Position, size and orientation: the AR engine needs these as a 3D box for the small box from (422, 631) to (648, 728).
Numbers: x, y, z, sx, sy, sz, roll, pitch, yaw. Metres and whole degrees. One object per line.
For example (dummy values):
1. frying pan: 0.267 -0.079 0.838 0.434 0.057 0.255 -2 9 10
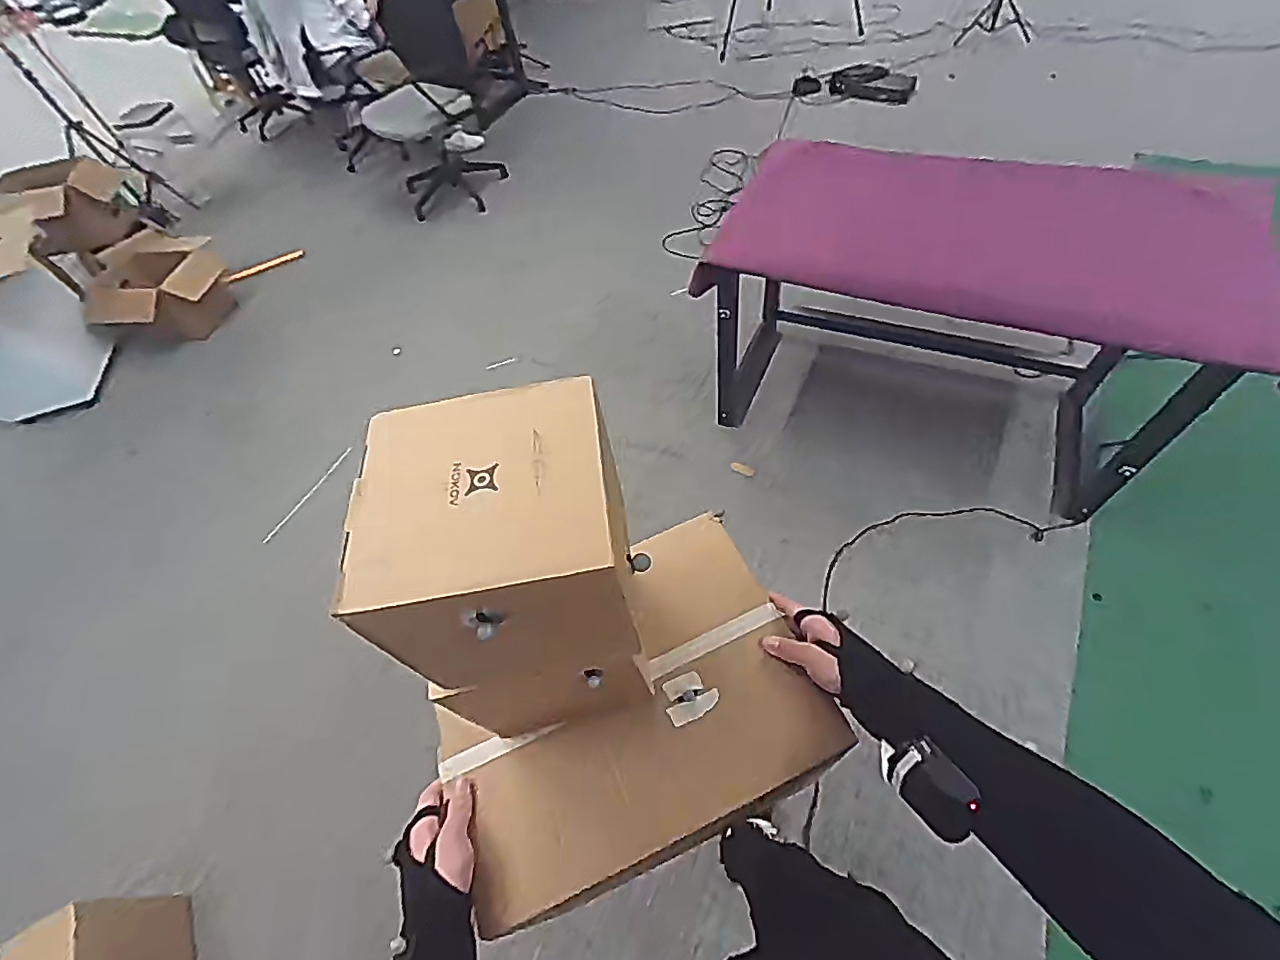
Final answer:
1. small box: -0.099 0.138 0.557 0.179 0.176 0.168 -14 54 -1

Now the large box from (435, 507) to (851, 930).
1. large box: -0.005 0.308 0.722 0.408 0.320 0.320 -23 56 -8

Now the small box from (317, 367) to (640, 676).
1. small box: -0.104 0.041 0.425 0.179 0.176 0.168 -10 55 2
